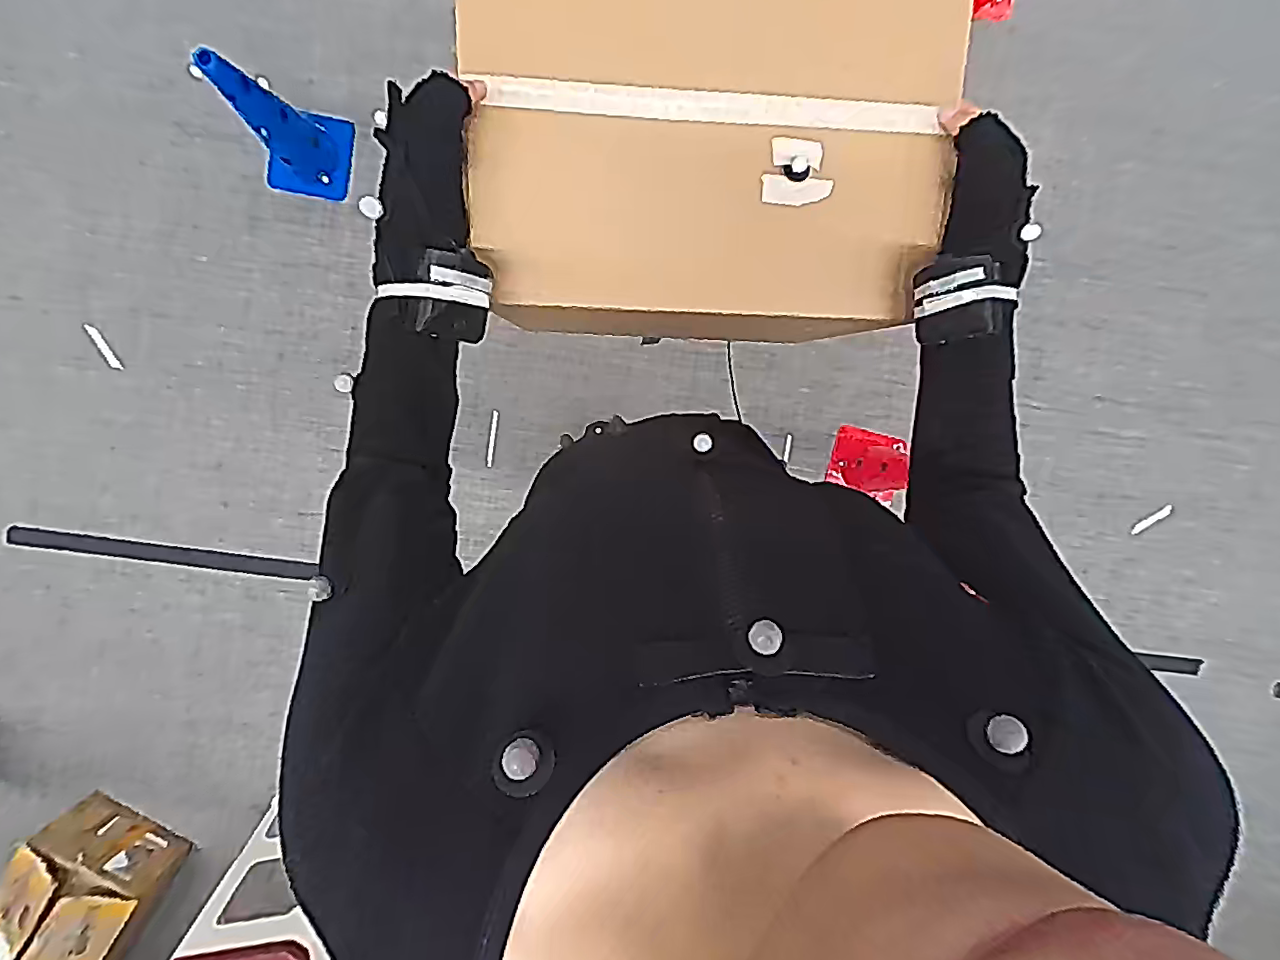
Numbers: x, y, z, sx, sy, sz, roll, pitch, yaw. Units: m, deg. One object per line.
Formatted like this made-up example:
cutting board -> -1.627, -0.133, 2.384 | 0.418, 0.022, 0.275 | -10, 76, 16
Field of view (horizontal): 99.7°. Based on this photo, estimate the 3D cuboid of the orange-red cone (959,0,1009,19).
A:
orange-red cone -> 0.881, -1.297, 1.228 | 0.198, 0.360, 0.199 | 5, 93, -4

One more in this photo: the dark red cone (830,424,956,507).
dark red cone -> 0.632, -0.023, 1.303 | 0.201, 0.394, 0.202 | 14, 94, -2

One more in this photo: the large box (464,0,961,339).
large box -> 0.048, -0.326, 0.587 | 0.408, 0.320, 0.320 | 1, 101, -5

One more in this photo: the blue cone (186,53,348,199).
blue cone -> -0.840, -0.807, 1.211 | 0.192, 0.380, 0.193 | 11, 94, -2
